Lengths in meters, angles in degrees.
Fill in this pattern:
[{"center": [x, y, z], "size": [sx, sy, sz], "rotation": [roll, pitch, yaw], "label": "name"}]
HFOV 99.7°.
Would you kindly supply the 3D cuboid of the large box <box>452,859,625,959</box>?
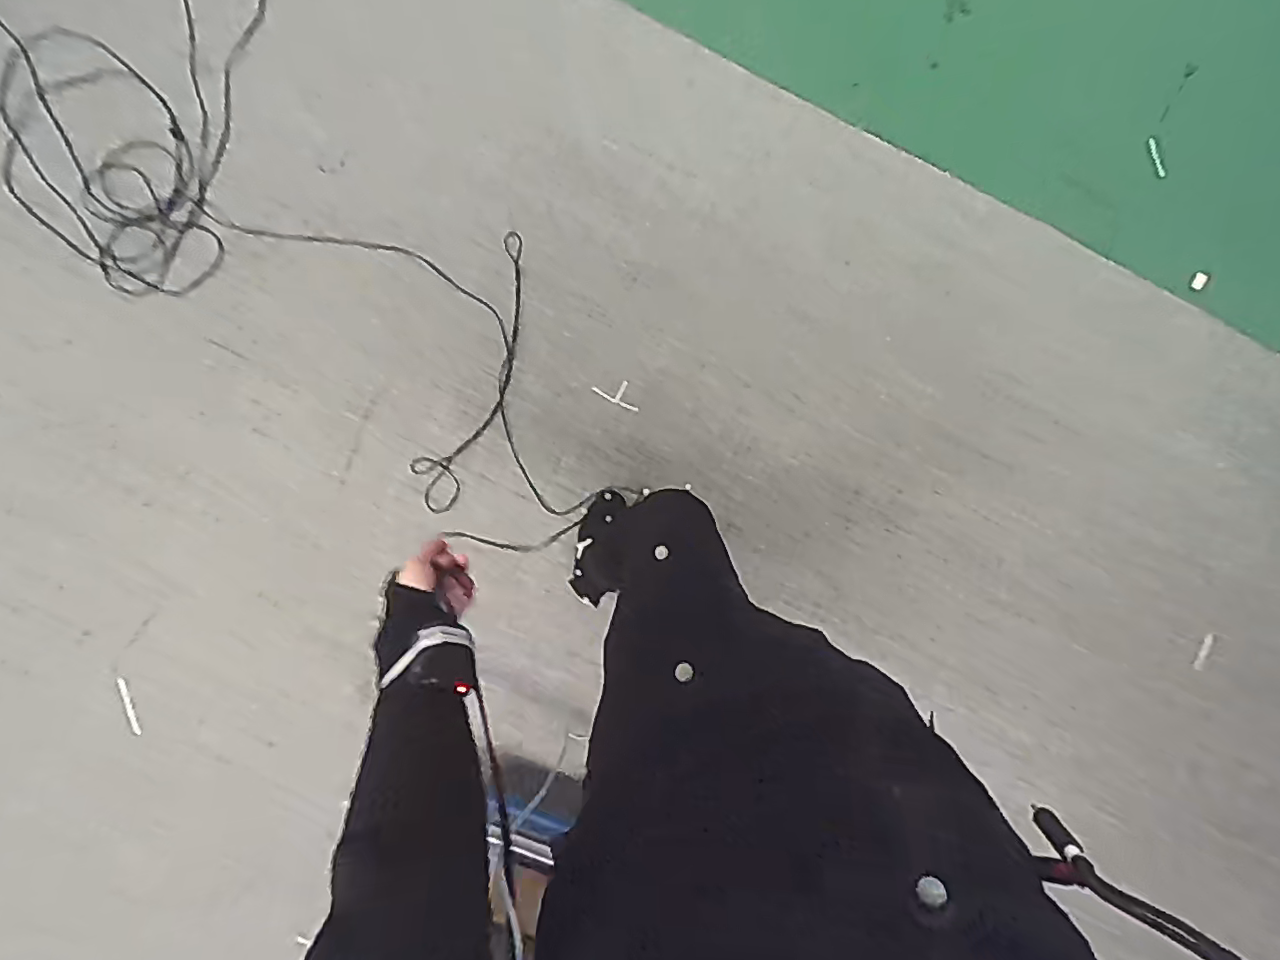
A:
[{"center": [-0.237, 1.045, 1.016], "size": [0.320, 0.320, 0.408], "rotation": [23, 86, -2], "label": "large box"}]
